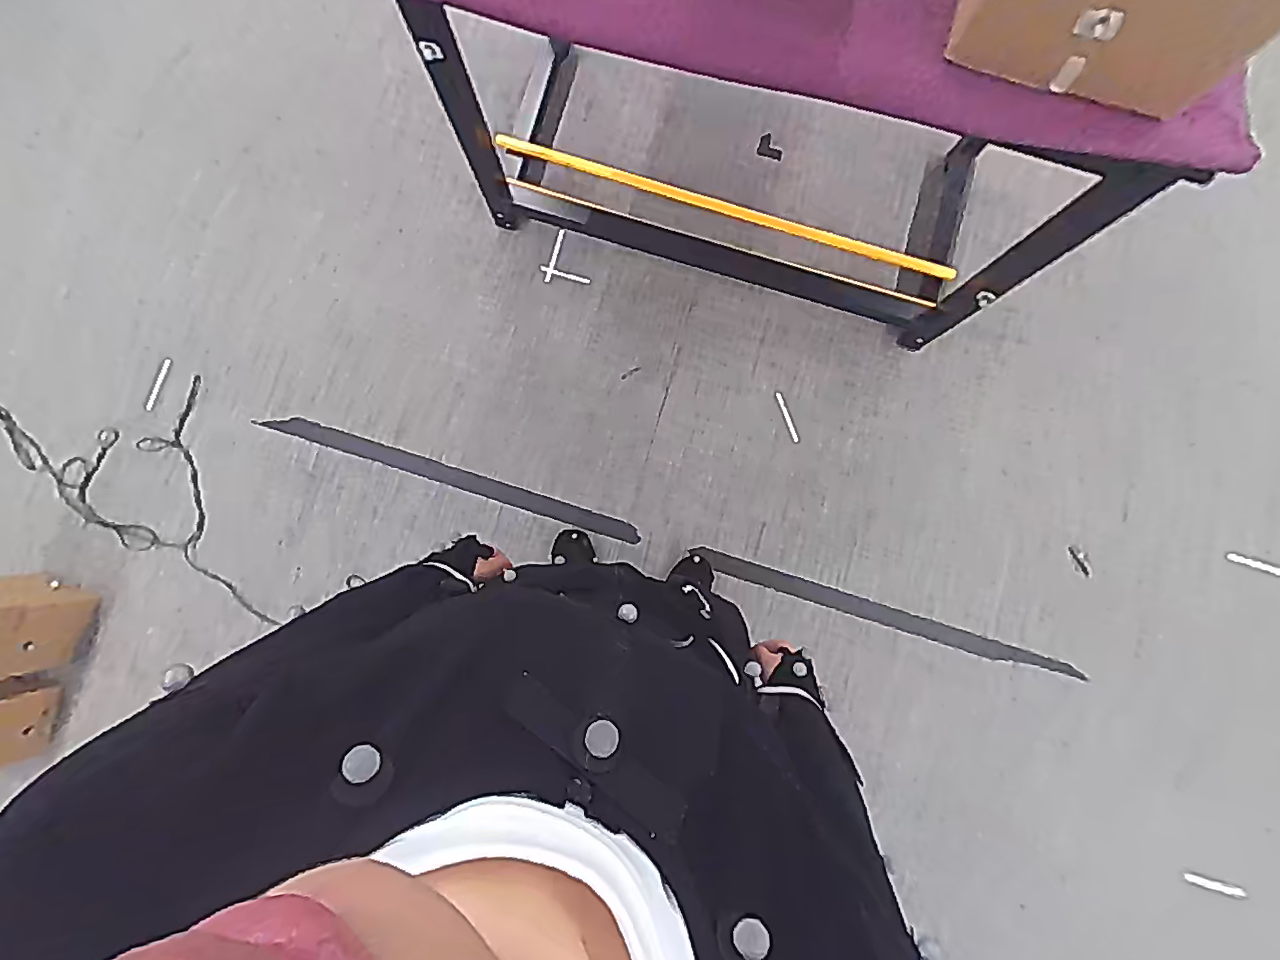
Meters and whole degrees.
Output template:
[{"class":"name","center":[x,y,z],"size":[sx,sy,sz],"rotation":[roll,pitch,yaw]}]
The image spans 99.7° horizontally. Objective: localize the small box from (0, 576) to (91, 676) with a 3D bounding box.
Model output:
[{"class":"small box","center":[-1.442,0.335,1.243],"size":[0.168,0.176,0.179],"rotation":[23,84,1]}]

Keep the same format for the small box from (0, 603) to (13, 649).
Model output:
[{"class":"small box","center":[-1.439,0.322,1.079],"size":[0.168,0.176,0.179],"rotation":[16,86,1]}]

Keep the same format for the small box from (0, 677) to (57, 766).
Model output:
[{"class":"small box","center":[-1.510,0.558,1.225],"size":[0.179,0.176,0.168],"rotation":[10,84,-1]}]

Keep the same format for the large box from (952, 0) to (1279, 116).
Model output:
[{"class":"large box","center":[0.606,-0.716,0.590],"size":[0.320,0.320,0.408],"rotation":[16,83,0]}]
